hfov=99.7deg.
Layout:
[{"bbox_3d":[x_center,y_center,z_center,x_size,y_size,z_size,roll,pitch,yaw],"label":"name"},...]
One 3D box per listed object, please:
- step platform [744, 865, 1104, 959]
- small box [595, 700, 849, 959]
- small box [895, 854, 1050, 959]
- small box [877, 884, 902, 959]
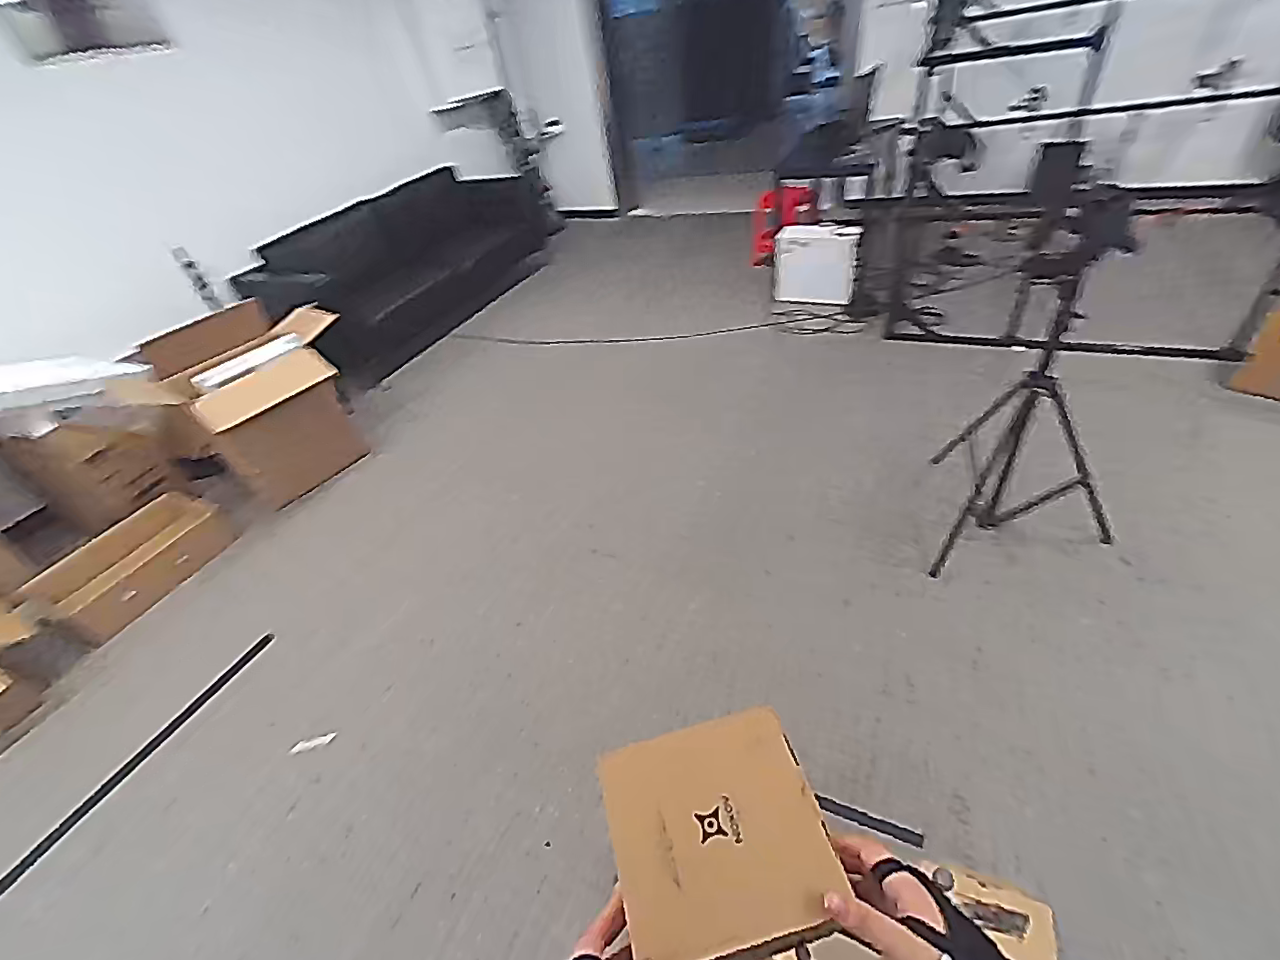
[{"bbox_3d":[0.343,0.789,0.888,0.684,0.204,0.286,11,44,23],"label":"step platform"},{"bbox_3d":[0.068,0.345,0.516,0.179,0.176,0.168,-16,44,-7],"label":"small box"},{"bbox_3d":[0.466,0.689,0.775,0.168,0.176,0.179,9,44,23],"label":"small box"},{"bbox_3d":[0.482,0.813,0.882,0.168,0.176,0.179,9,44,24],"label":"small box"}]
